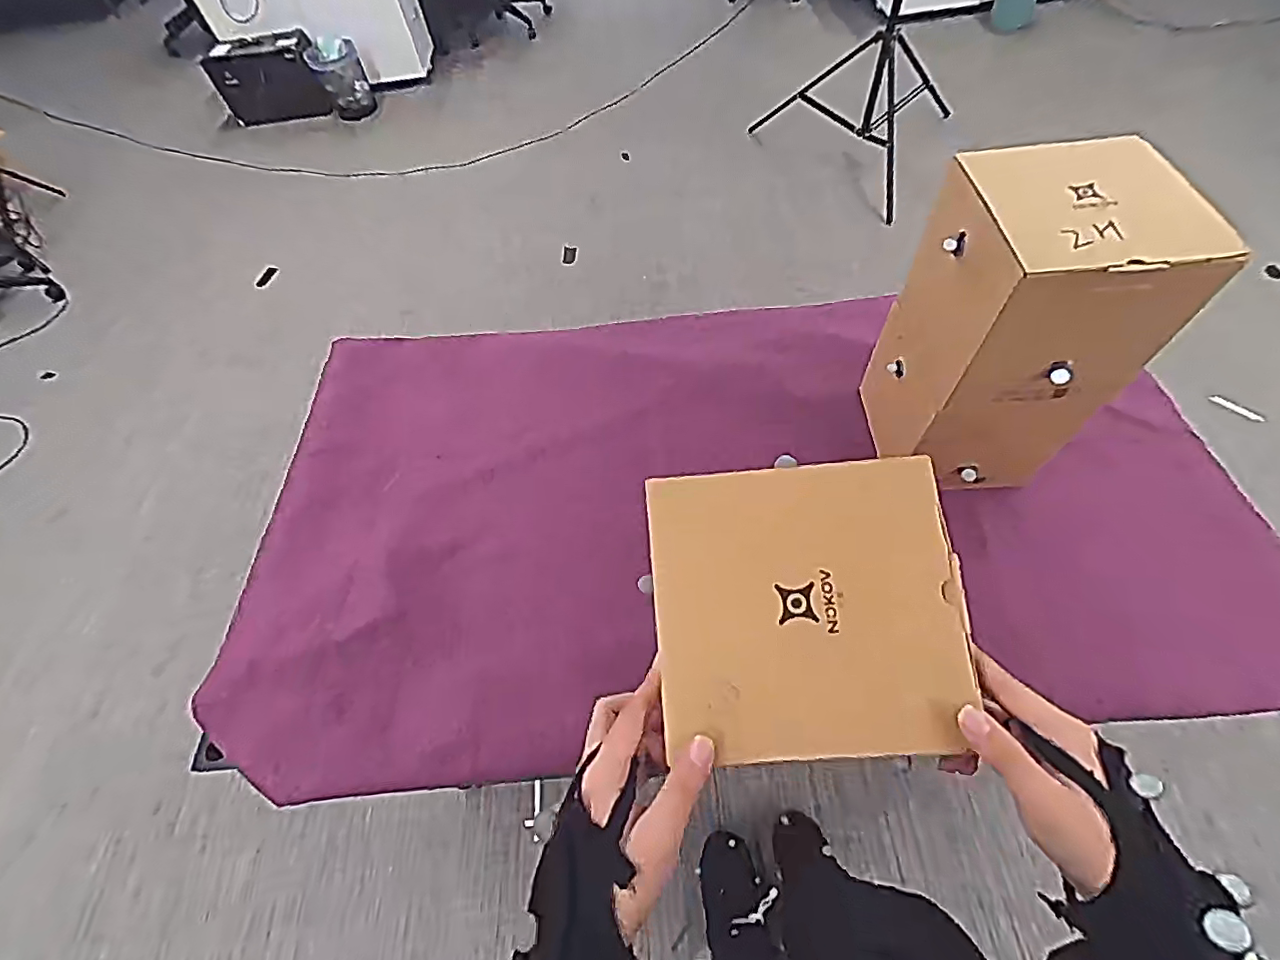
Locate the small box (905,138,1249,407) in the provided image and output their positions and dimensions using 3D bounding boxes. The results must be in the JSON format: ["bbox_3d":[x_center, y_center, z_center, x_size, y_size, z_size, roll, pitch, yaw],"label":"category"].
[{"bbox_3d":[0.379,-0.191,0.518,0.168,0.176,0.179,-3,58,5],"label":"small box"}]

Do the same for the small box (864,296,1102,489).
[{"bbox_3d":[0.390,-0.104,0.658,0.168,0.176,0.179,-3,58,4],"label":"small box"}]

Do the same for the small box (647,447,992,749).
[{"bbox_3d":[0.103,0.086,0.389,0.179,0.176,0.168,-5,75,4],"label":"small box"}]
